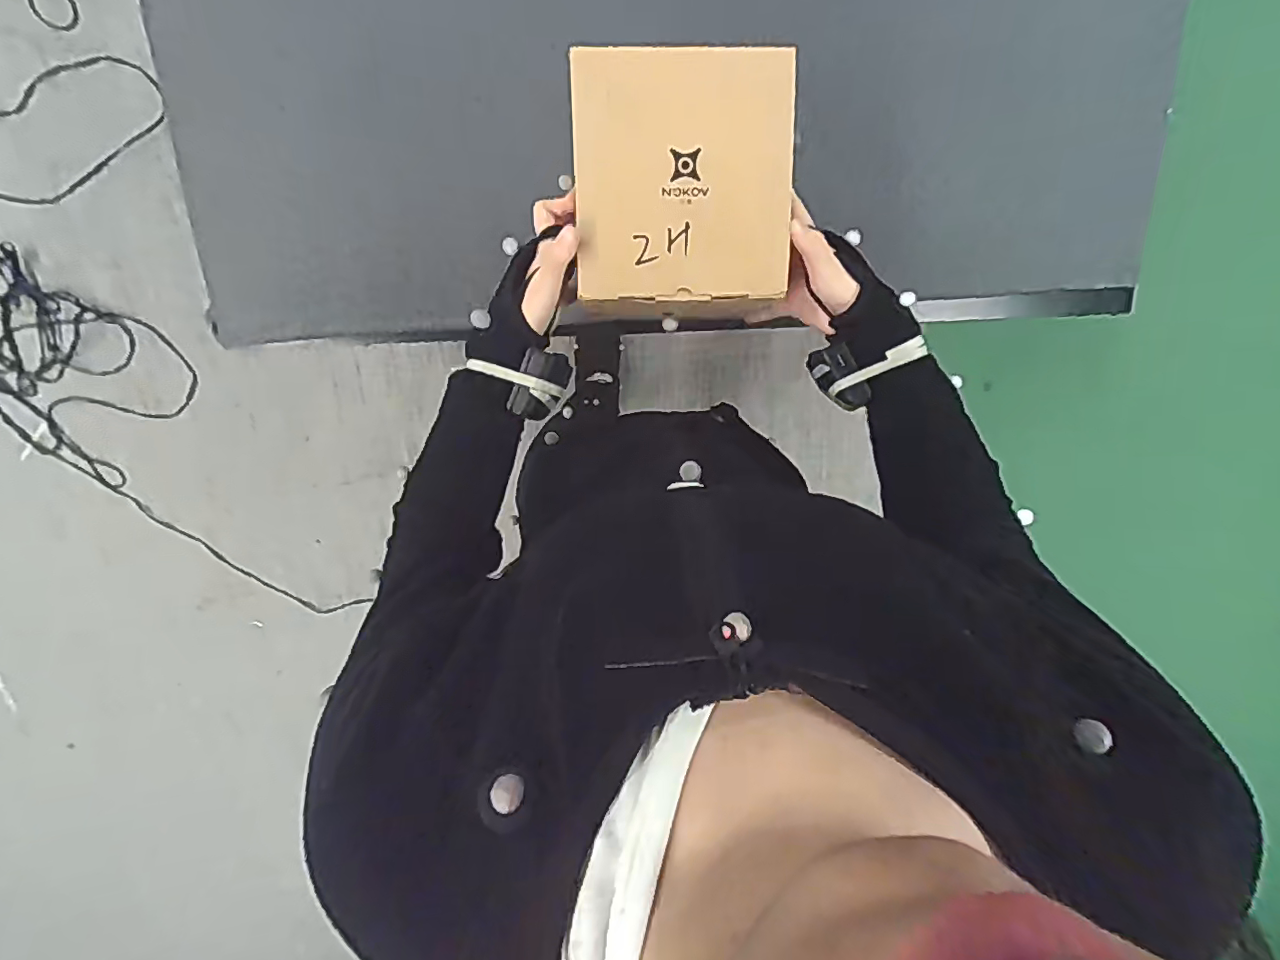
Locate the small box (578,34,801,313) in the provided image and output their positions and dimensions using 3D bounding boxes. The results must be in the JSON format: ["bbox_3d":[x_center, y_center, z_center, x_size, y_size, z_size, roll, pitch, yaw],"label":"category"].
[{"bbox_3d":[0.034,-0.250,0.482,0.168,0.176,0.179,-2,102,-1],"label":"small box"}]
